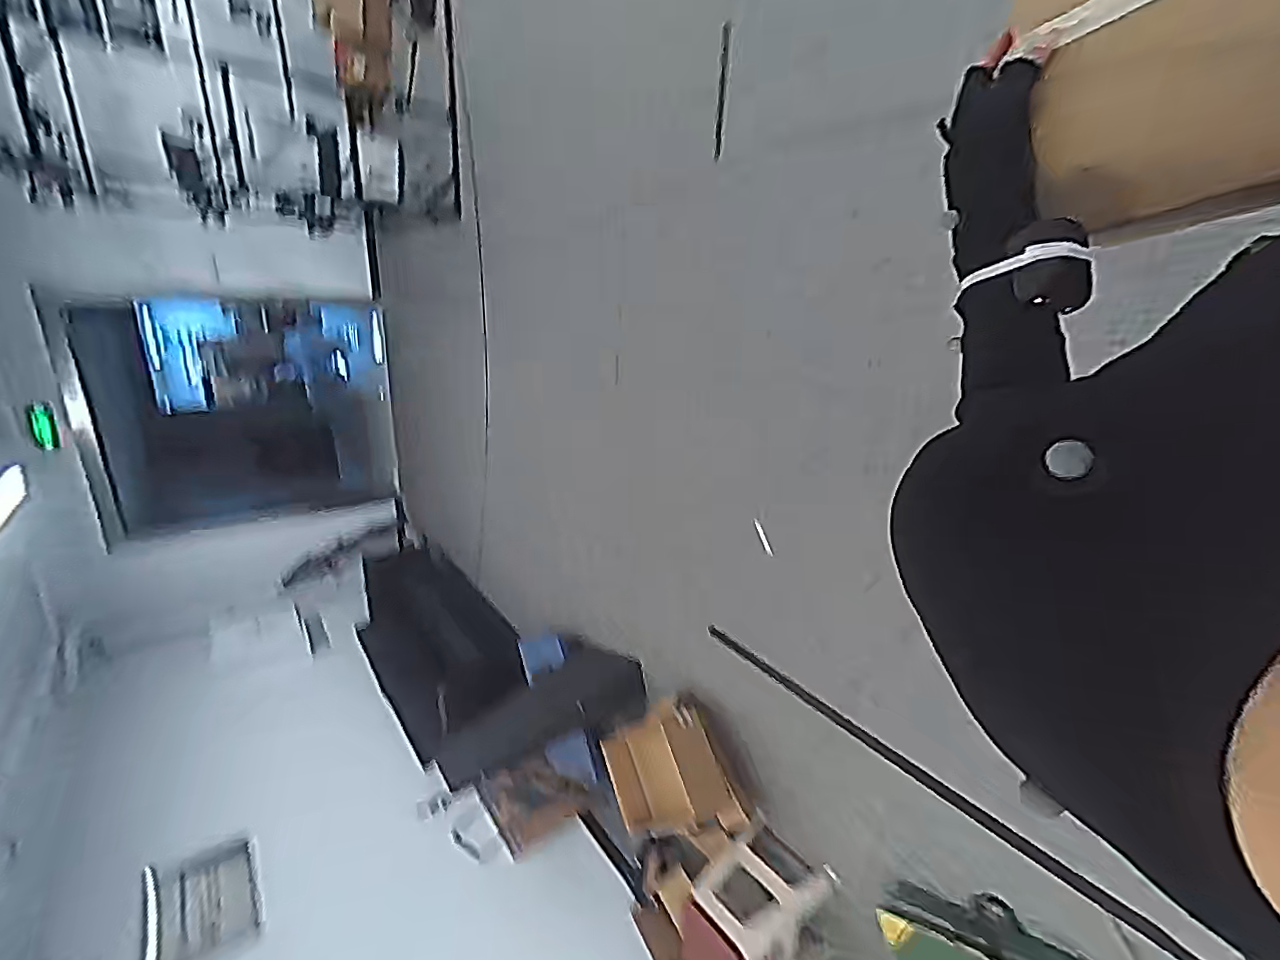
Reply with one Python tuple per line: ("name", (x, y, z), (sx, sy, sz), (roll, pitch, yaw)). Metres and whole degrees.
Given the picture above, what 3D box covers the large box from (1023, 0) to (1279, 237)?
("large box", (0.562, -0.408, 0.400), (0.408, 0.320, 0.320), (-1, 106, 49))
